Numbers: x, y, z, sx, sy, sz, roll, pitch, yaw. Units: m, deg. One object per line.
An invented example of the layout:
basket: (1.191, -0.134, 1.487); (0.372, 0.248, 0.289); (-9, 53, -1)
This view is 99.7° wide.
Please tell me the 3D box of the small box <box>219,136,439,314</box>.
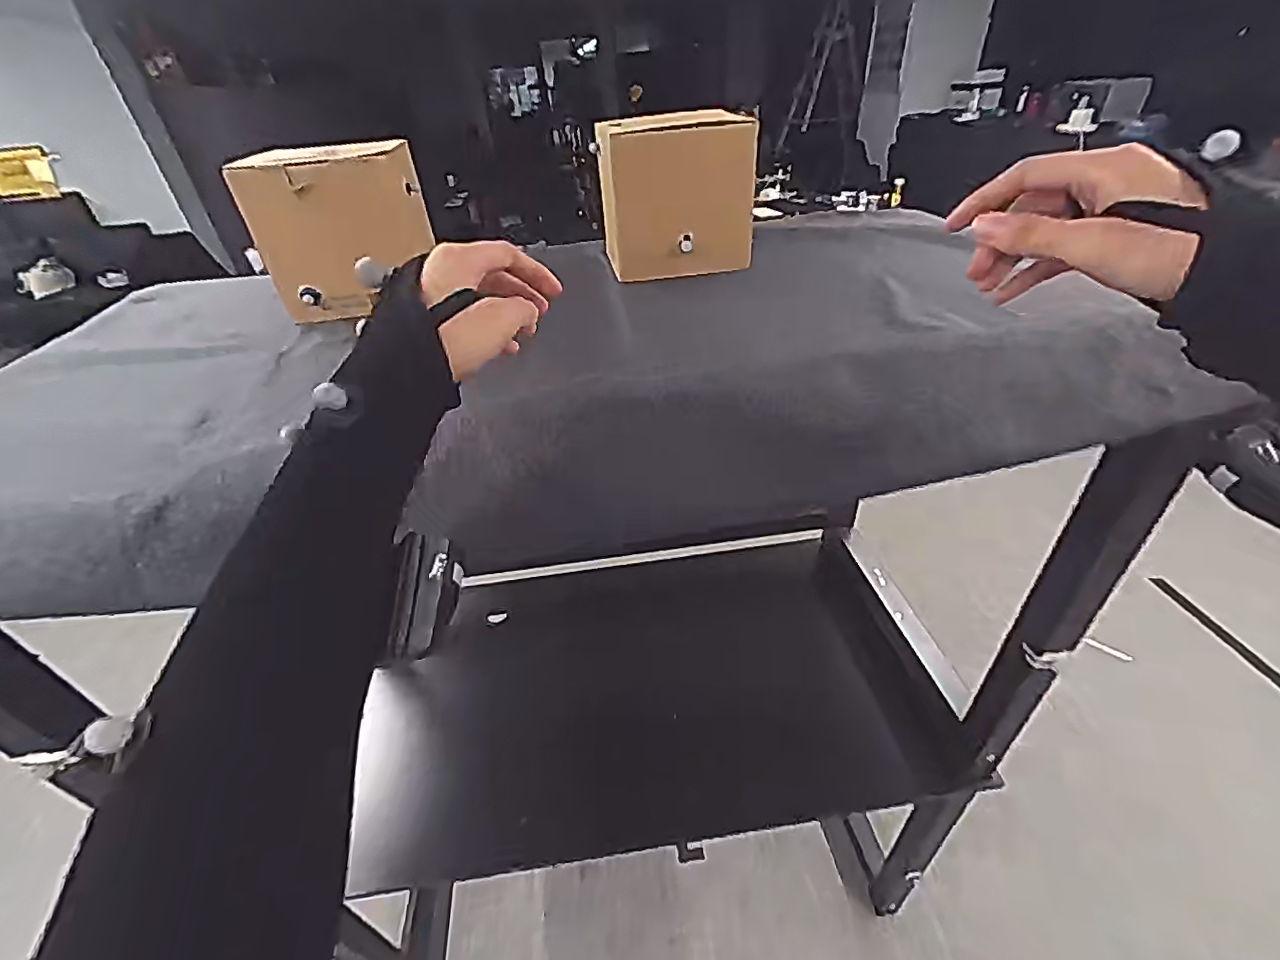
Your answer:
small box: (-0.361, -0.314, 0.672); (0.168, 0.176, 0.179); (-10, 37, -7)

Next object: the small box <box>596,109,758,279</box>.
small box: (0.041, -0.377, 0.710); (0.179, 0.176, 0.168); (-8, 37, -5)
